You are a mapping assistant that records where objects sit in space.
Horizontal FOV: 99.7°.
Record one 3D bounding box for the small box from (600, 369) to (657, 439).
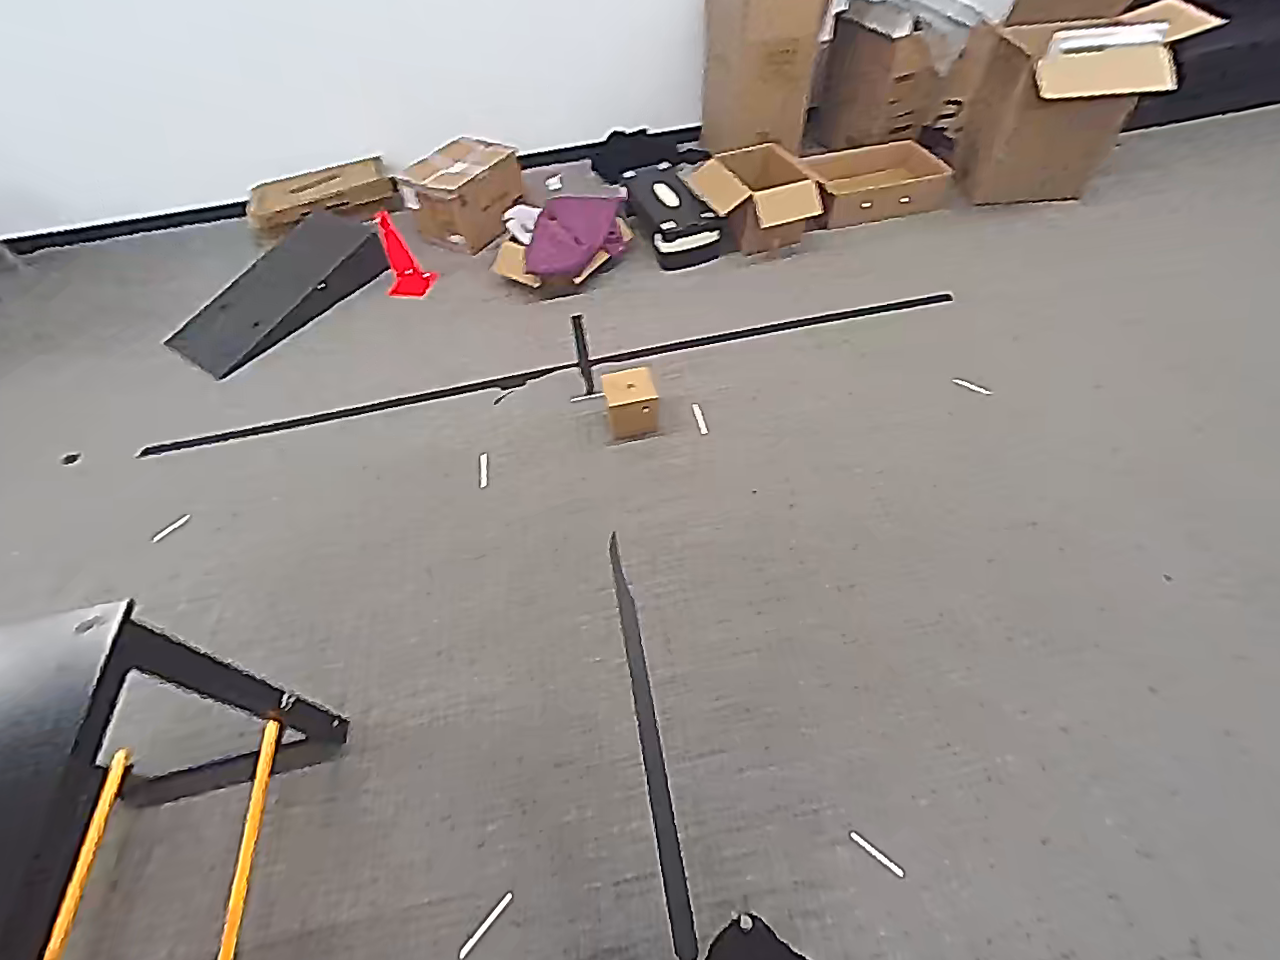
[{"bbox_3d":[-0.039,-0.272,1.958,0.179,0.176,0.168,-12,53,-4],"label":"small box"}]
